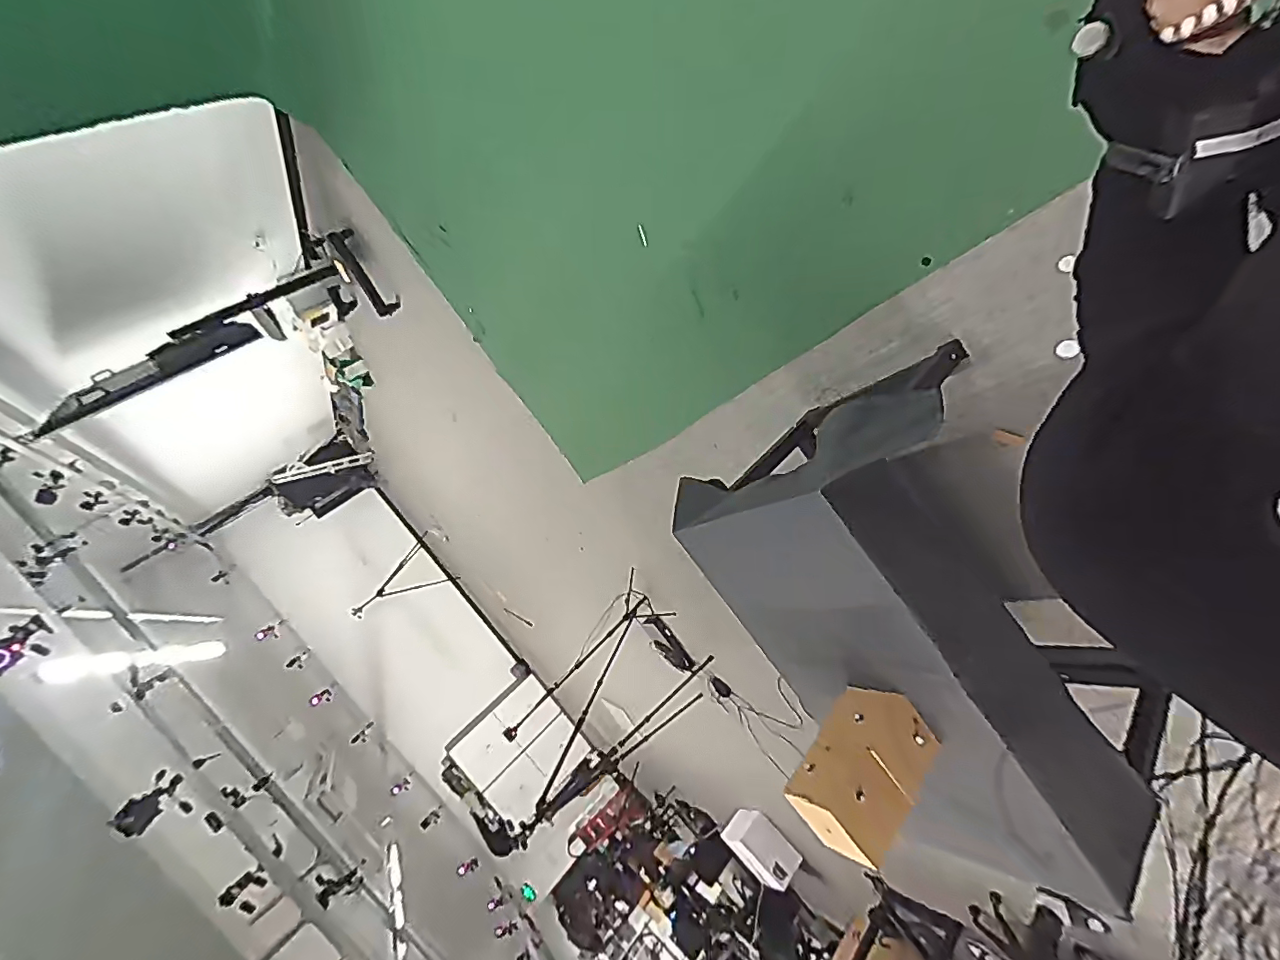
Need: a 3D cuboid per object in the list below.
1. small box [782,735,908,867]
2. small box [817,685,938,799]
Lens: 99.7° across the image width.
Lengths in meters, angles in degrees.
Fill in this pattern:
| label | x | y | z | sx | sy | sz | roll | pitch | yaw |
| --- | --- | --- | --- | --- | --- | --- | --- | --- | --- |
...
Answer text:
| label | x | y | z | sx | sy | sz | roll | pitch | yaw |
| --- | --- | --- | --- | --- | --- | --- | --- | --- | --- |
| small box | 0.468 | 0.719 | 1.237 | 0.179 | 0.176 | 0.168 | 52 | 152 | -4 |
| small box | 0.577 | 0.623 | 1.312 | 0.168 | 0.176 | 0.179 | 53 | 150 | -6 |
